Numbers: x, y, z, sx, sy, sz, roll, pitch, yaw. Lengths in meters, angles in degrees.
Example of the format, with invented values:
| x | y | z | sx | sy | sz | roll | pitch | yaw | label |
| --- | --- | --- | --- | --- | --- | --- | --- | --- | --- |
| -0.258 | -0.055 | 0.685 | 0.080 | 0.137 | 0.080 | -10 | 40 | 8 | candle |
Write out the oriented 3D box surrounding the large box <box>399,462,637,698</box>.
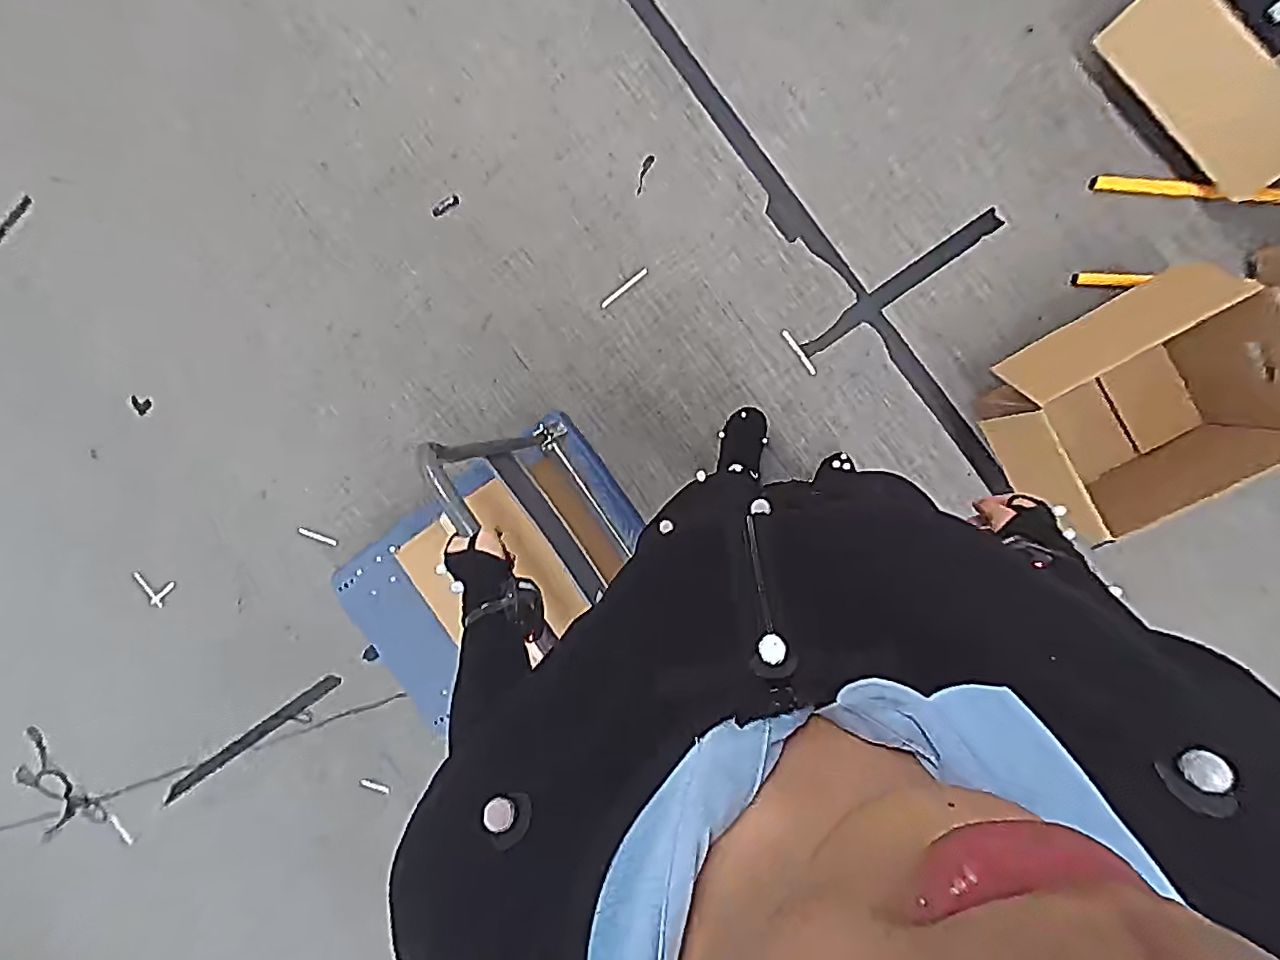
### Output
| x | y | z | sx | sy | sz | roll | pitch | yaw | label |
| --- | --- | --- | --- | --- | --- | --- | --- | --- | --- |
| -0.264 | 0.216 | 1.287 | 0.320 | 0.320 | 0.408 | -34 | 91 | 14 | large box |
